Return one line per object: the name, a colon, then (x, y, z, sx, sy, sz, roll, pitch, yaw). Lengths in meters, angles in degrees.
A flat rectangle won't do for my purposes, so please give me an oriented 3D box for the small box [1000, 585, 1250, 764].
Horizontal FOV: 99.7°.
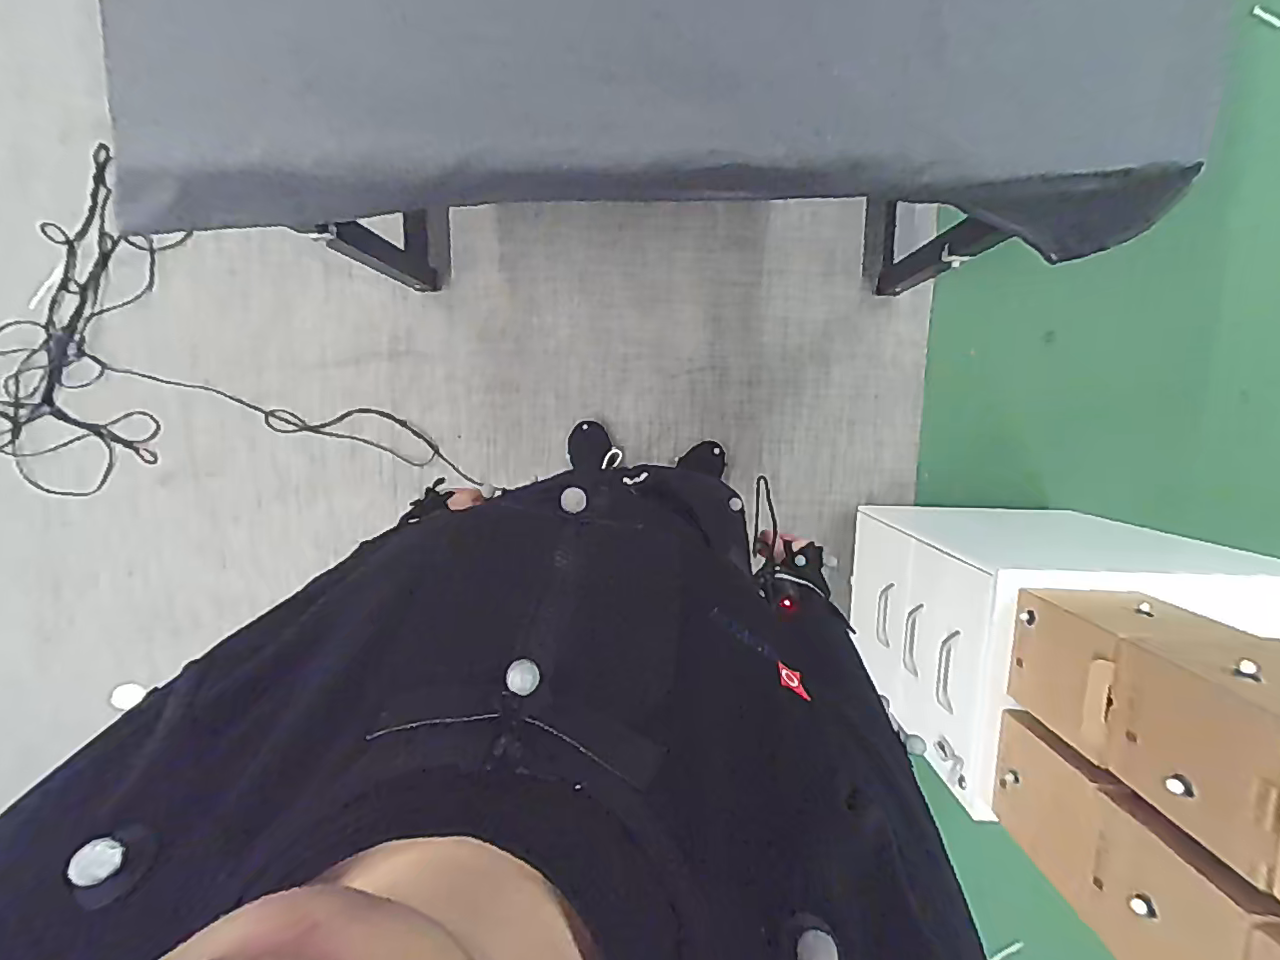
small box: (0.616, 0.244, 0.713, 0.179, 0.176, 0.168, 1, 98, 0)
